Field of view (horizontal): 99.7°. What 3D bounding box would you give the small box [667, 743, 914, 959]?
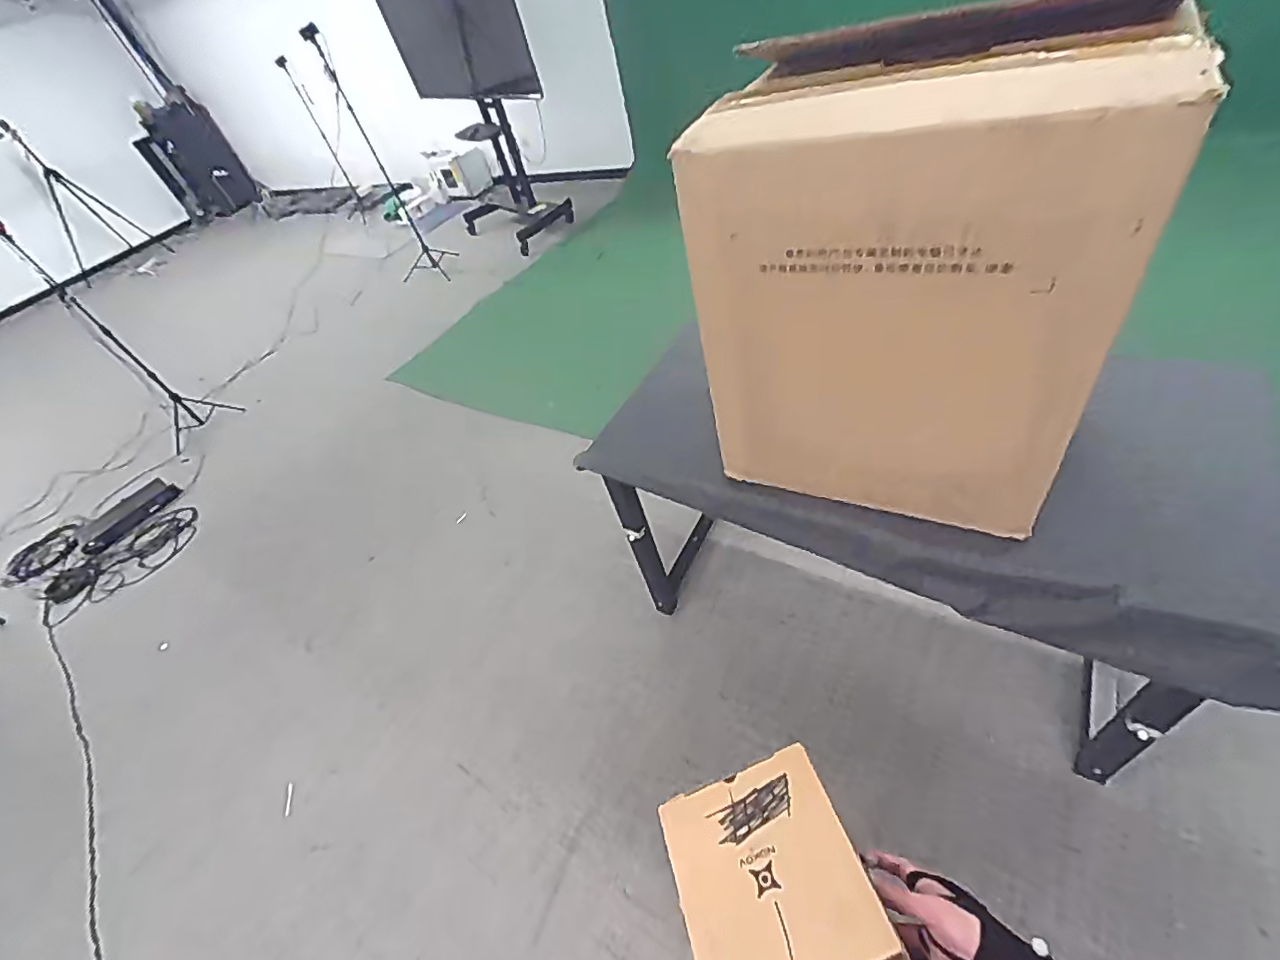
[{"bbox_3d":[0.147,0.408,0.538,0.168,0.176,0.179,-26,36,3],"label":"small box"}]
